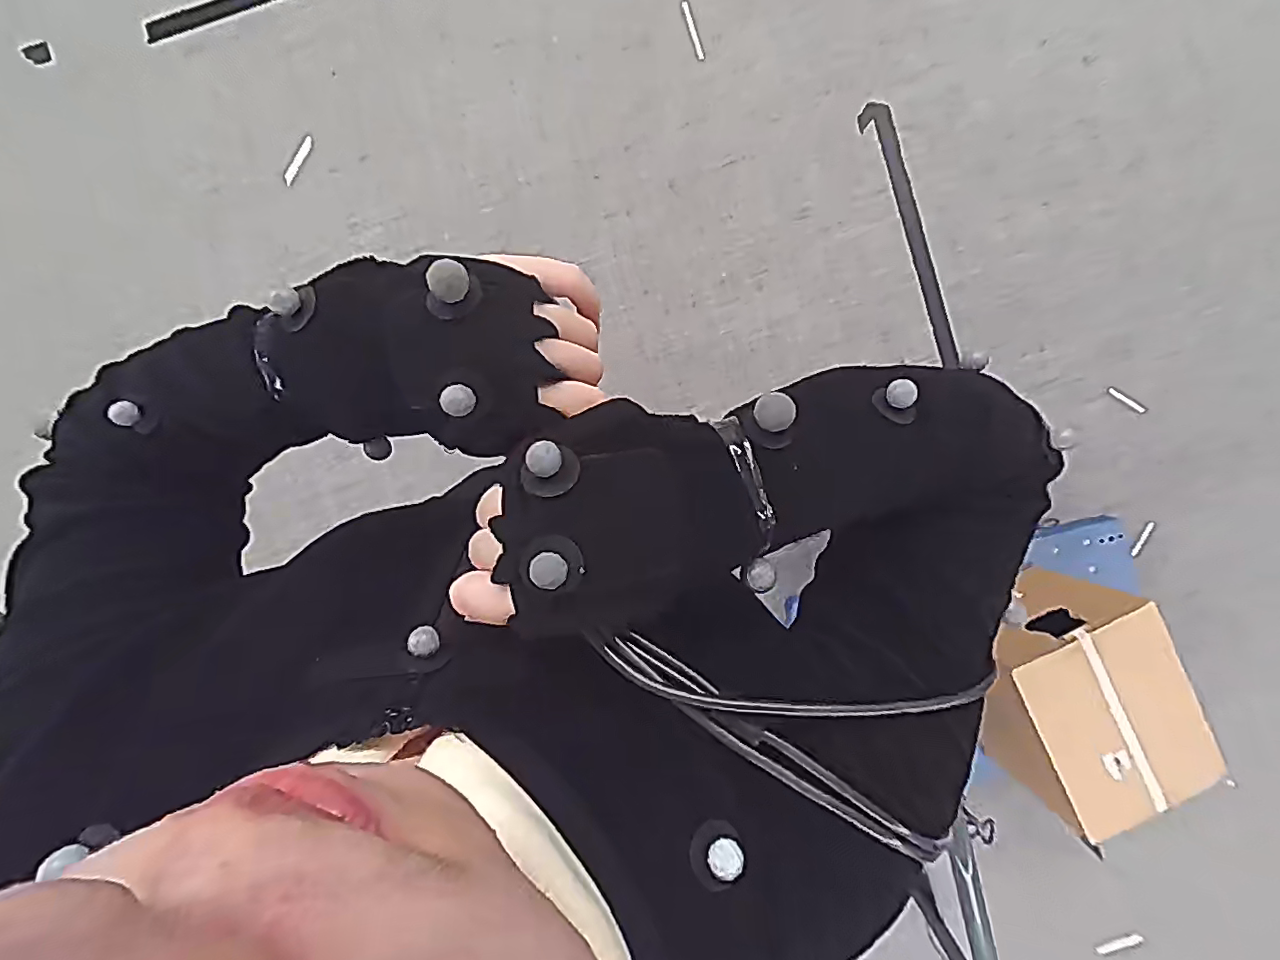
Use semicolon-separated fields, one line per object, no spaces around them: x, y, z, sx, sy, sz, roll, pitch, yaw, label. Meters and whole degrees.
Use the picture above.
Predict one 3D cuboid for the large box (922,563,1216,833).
0.924;0.455;1.214;0.320;0.320;0.408;-26;95;1;large box
